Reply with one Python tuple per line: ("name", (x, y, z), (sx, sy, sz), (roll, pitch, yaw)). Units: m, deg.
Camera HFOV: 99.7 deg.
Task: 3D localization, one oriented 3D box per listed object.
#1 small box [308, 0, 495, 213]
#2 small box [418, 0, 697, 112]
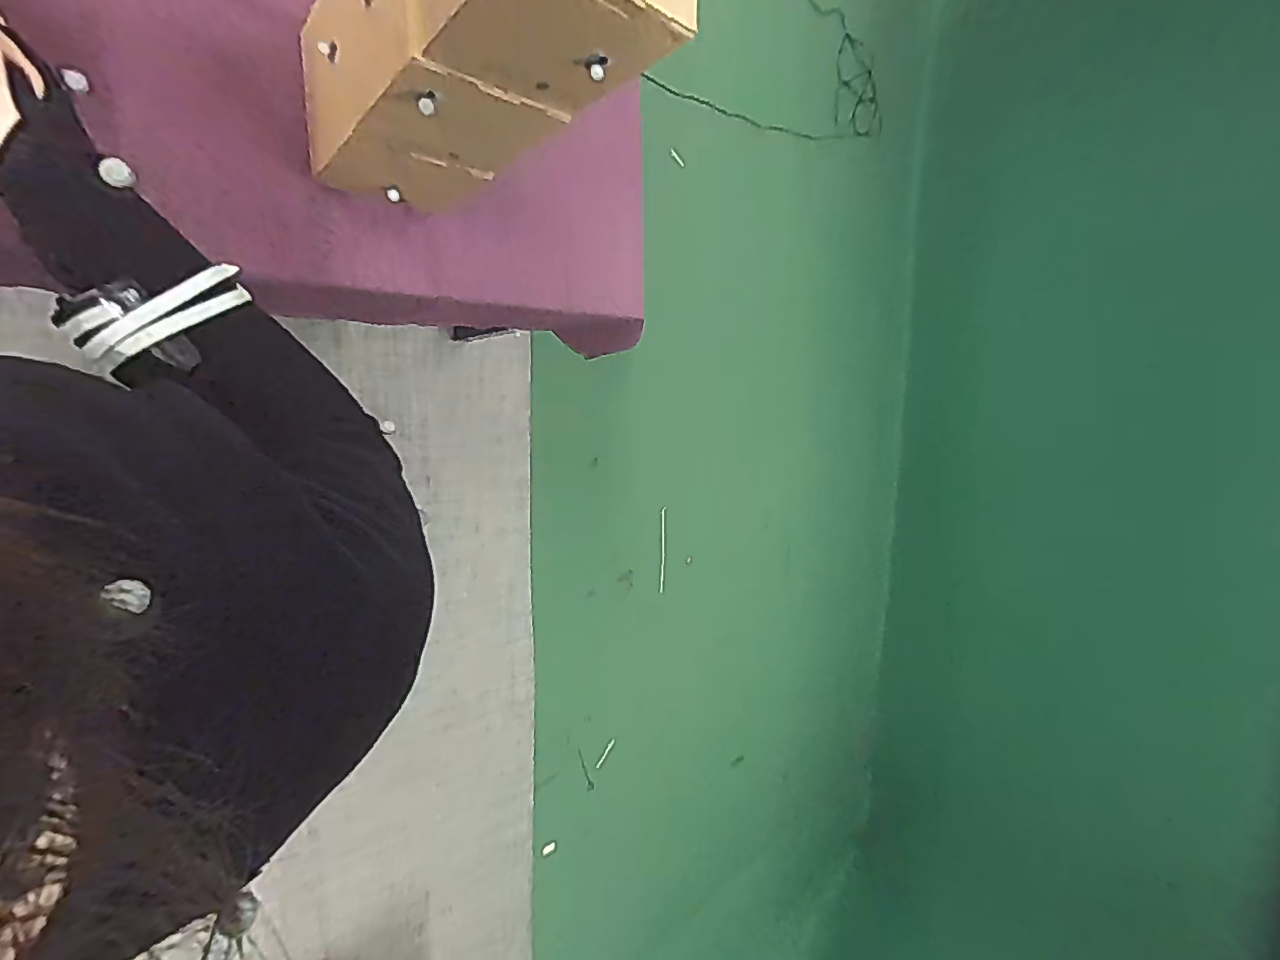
("small box", (-0.297, -0.460, 0.671), (0.168, 0.176, 0.179), (-7, 100, -43))
("small box", (-0.072, -0.438, 0.434), (0.168, 0.176, 0.179), (-11, 102, -43))
